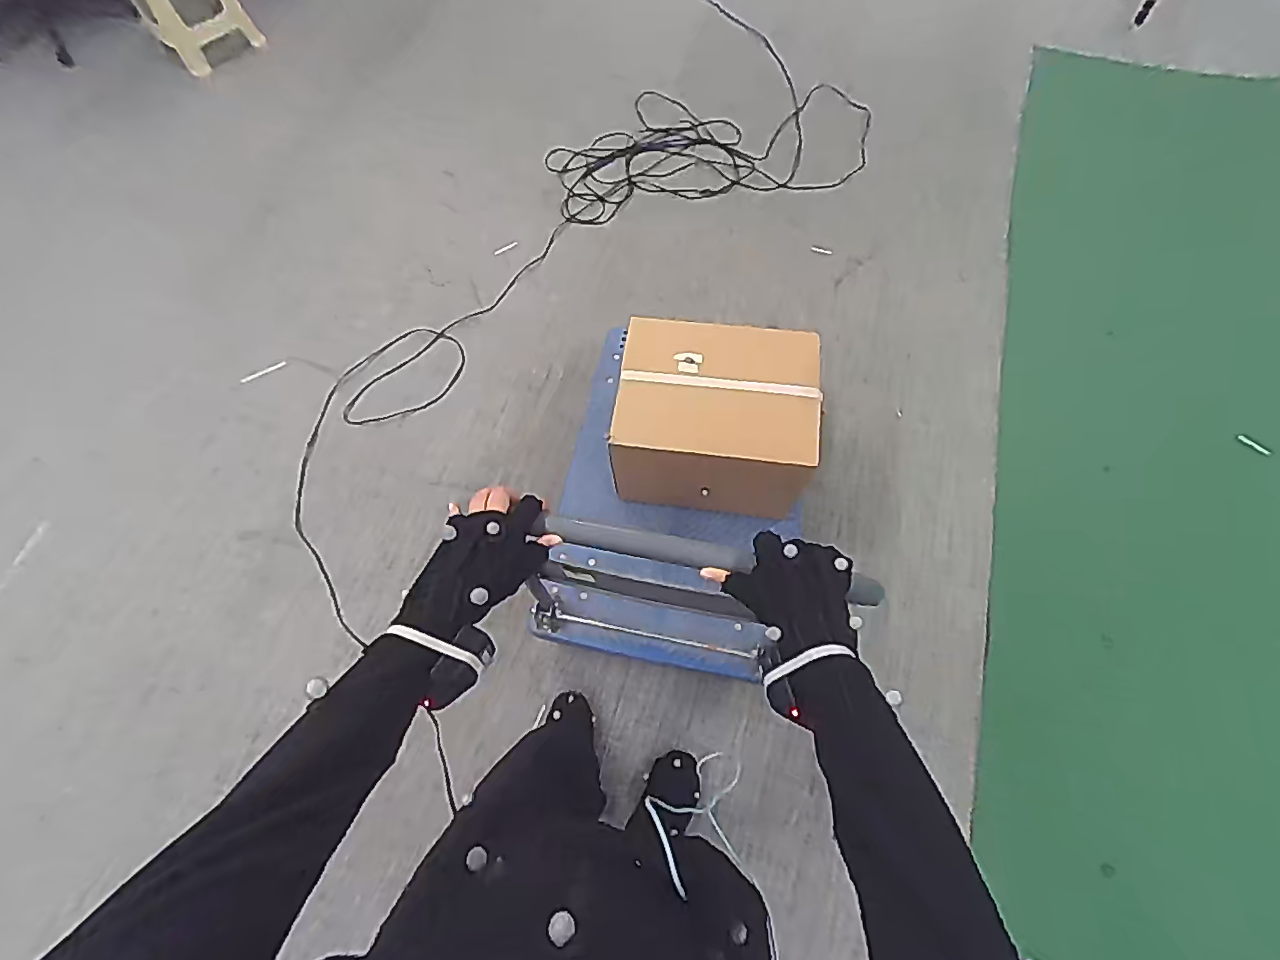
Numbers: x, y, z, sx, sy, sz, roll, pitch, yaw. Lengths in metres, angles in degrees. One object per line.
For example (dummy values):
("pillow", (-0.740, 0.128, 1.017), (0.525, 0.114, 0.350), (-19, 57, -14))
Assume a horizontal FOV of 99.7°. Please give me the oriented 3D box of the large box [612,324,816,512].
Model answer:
("large box", (0.167, -0.130, 1.244), (0.408, 0.320, 0.320), (5, 67, 6))
